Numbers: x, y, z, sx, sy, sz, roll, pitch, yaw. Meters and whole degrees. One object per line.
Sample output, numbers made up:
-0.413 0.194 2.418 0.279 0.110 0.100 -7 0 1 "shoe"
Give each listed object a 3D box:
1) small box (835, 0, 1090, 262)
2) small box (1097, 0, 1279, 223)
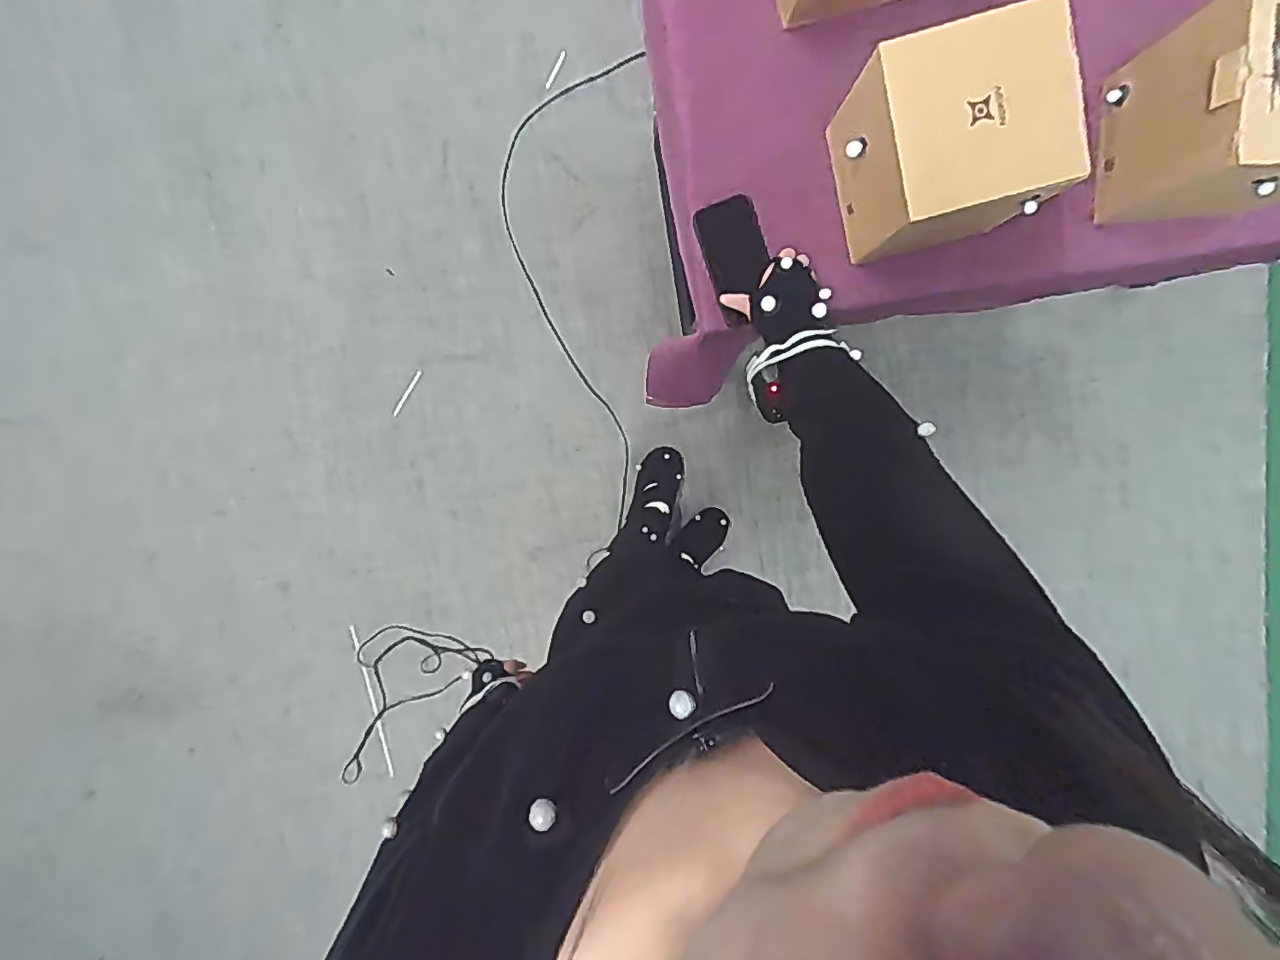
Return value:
0.329 -0.358 0.592 0.179 0.176 0.168 -14 97 2 "small box"
0.641 -0.387 0.577 0.179 0.176 0.168 -2 98 1 "small box"
